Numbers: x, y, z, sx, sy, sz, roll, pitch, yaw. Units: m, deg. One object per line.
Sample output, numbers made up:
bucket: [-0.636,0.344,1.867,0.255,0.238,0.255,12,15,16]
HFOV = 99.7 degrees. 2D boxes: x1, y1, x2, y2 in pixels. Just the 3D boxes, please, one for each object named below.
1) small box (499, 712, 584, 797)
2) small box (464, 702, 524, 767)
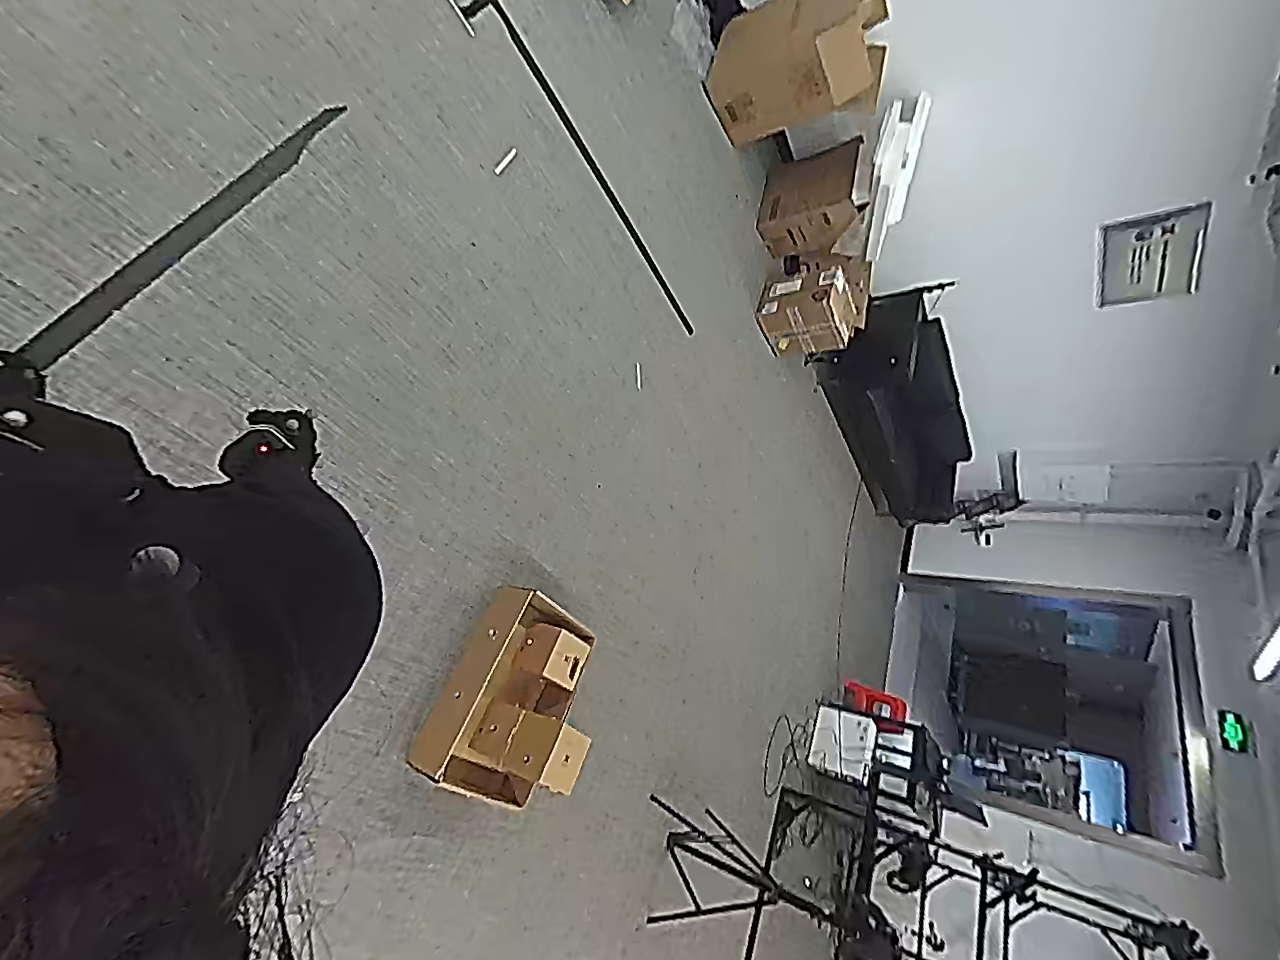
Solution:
small box: [-0.313,0.853,1.690,0.168,0.176,0.179,54,47,-40]
small box: [-0.446,0.851,1.787,0.179,0.176,0.168,51,48,-38]
